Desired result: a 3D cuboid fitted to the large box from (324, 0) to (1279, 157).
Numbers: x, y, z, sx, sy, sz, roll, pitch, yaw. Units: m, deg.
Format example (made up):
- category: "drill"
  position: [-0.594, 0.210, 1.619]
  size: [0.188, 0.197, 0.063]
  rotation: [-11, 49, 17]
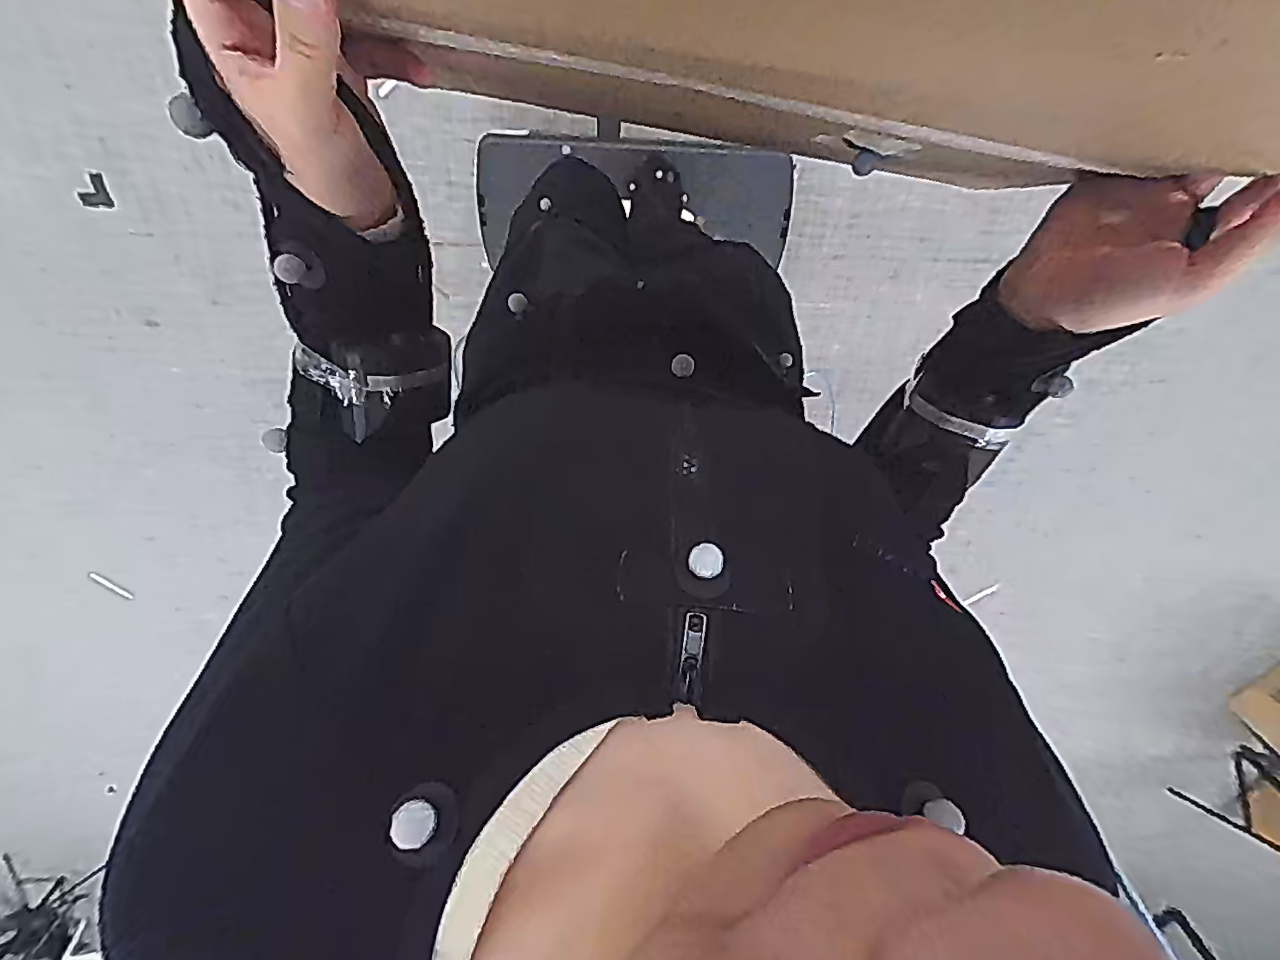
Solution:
- category: "large box"
  position: [0.080, -0.313, 0.157]
  size: [0.408, 0.320, 0.320]
  rotation: [5, 117, -8]
